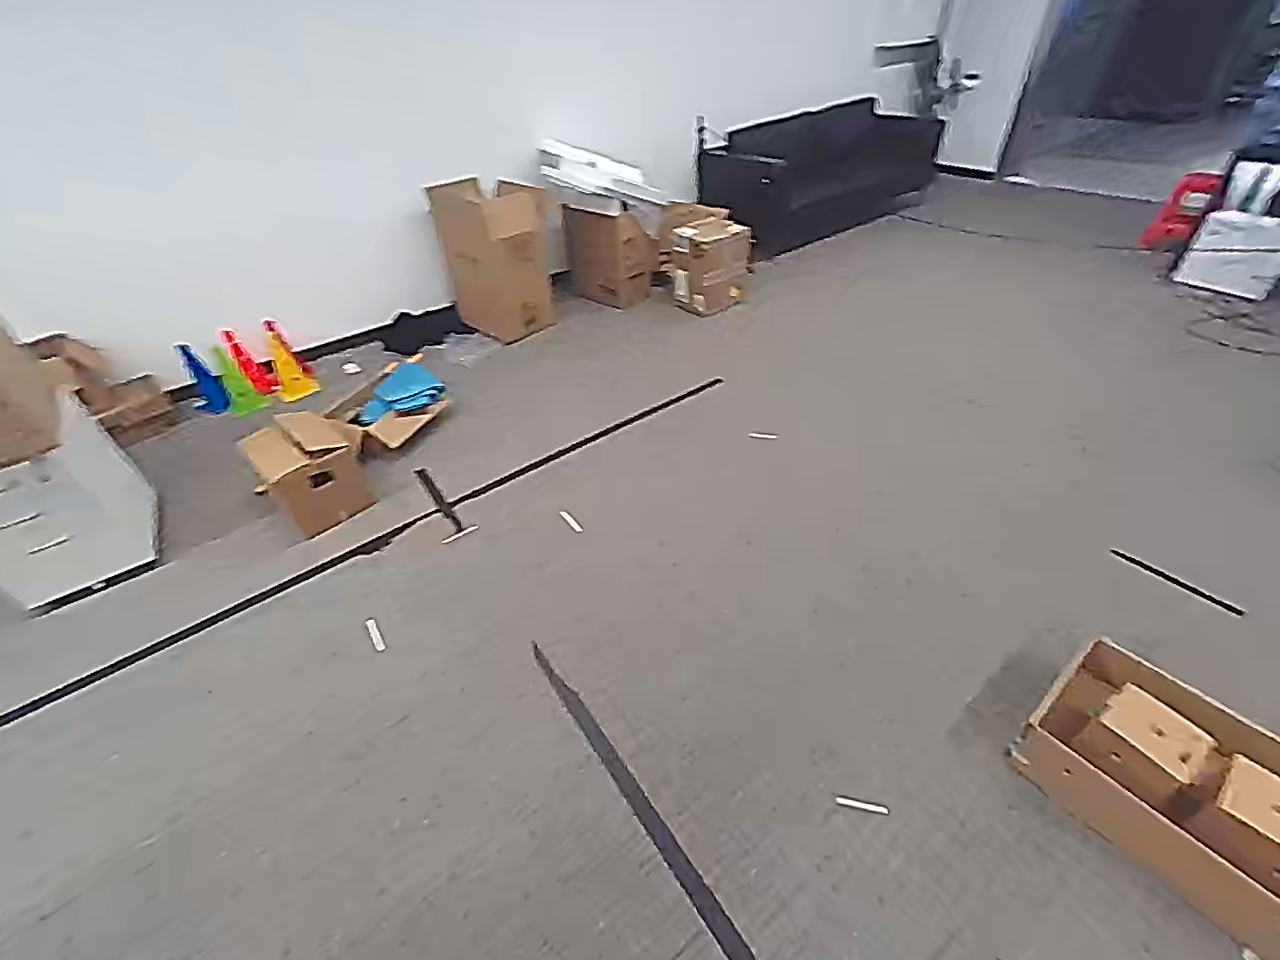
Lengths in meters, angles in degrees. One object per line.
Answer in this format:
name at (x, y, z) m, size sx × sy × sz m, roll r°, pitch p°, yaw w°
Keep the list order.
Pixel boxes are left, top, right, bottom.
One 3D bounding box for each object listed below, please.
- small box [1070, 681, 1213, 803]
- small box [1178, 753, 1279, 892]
small box at (1.203, 0.637, 1.313) m, size 0.168 × 0.176 × 0.179 m, roll -27°, pitch 45°, yaw -23°
small box at (1.340, 0.747, 1.173) m, size 0.168 × 0.176 × 0.179 m, roll -31°, pitch 45°, yaw -29°
